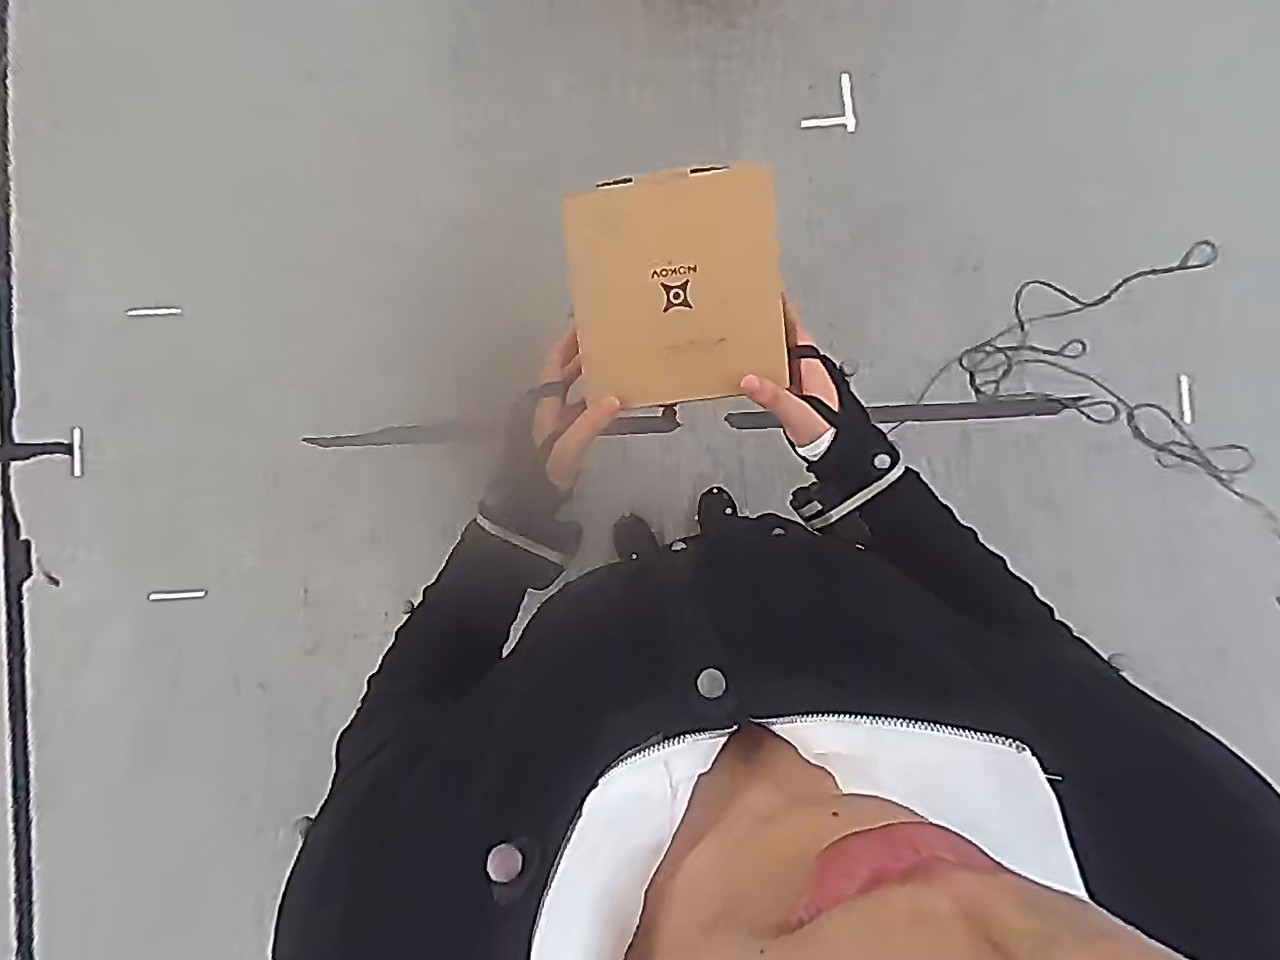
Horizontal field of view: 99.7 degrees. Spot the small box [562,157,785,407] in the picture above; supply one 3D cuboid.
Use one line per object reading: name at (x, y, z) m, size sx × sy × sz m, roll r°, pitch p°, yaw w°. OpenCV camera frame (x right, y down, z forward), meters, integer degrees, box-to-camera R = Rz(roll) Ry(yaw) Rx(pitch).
small box at (0.028, -0.165, 0.506) m, size 0.168 × 0.176 × 0.179 m, roll -7°, pitch 98°, yaw 2°
